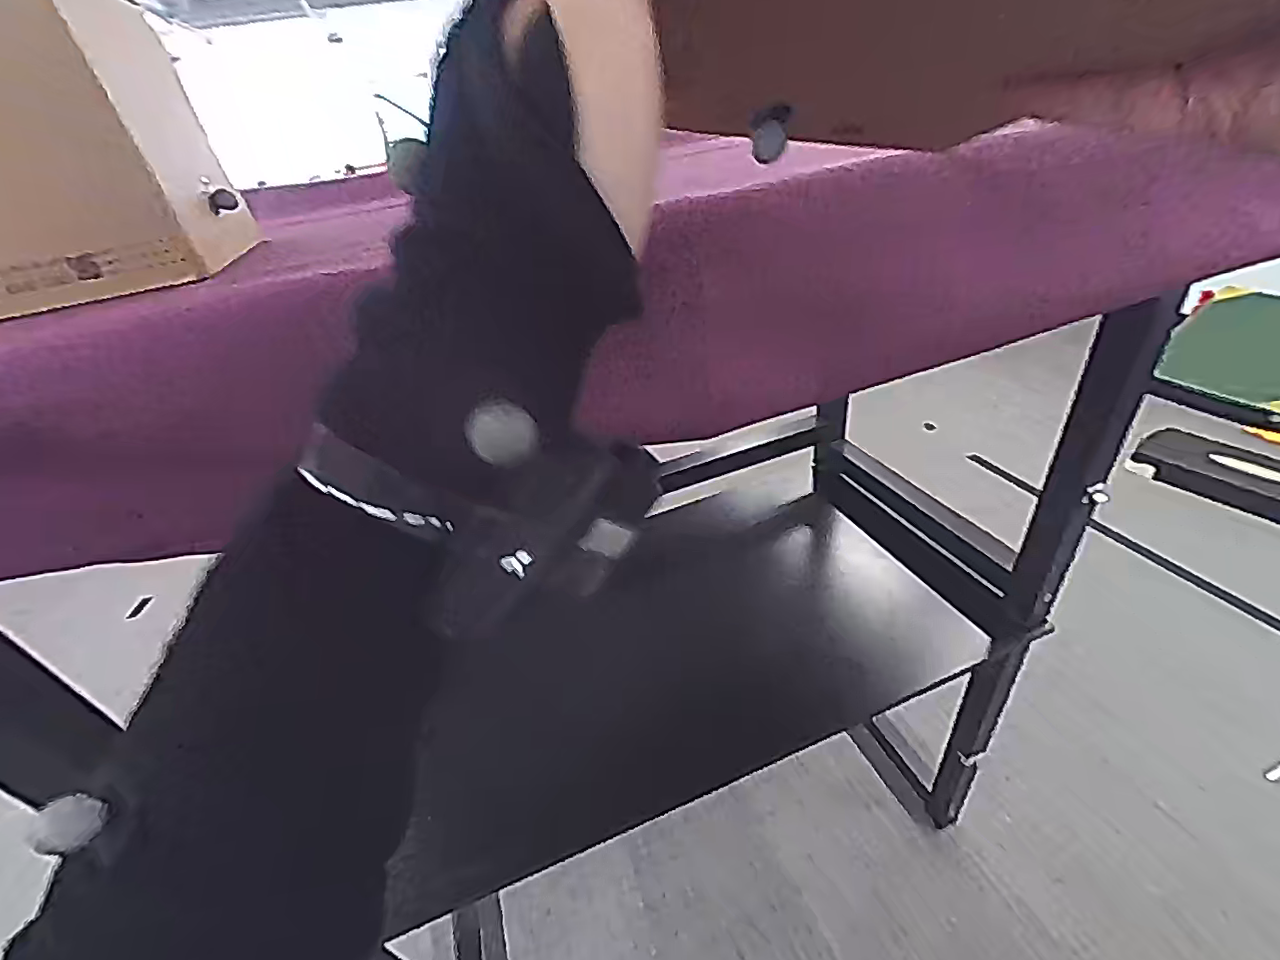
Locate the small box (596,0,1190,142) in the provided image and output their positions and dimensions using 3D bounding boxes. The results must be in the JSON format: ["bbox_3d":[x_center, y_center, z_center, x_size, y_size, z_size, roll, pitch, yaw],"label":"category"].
[{"bbox_3d":[0.071,-0.227,0.157,0.168,0.179,0.176,1,18,-5],"label":"small box"}]

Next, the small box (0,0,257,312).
[{"bbox_3d":[-0.398,-0.220,0.363,0.168,0.176,0.179,-19,35,-12],"label":"small box"}]
